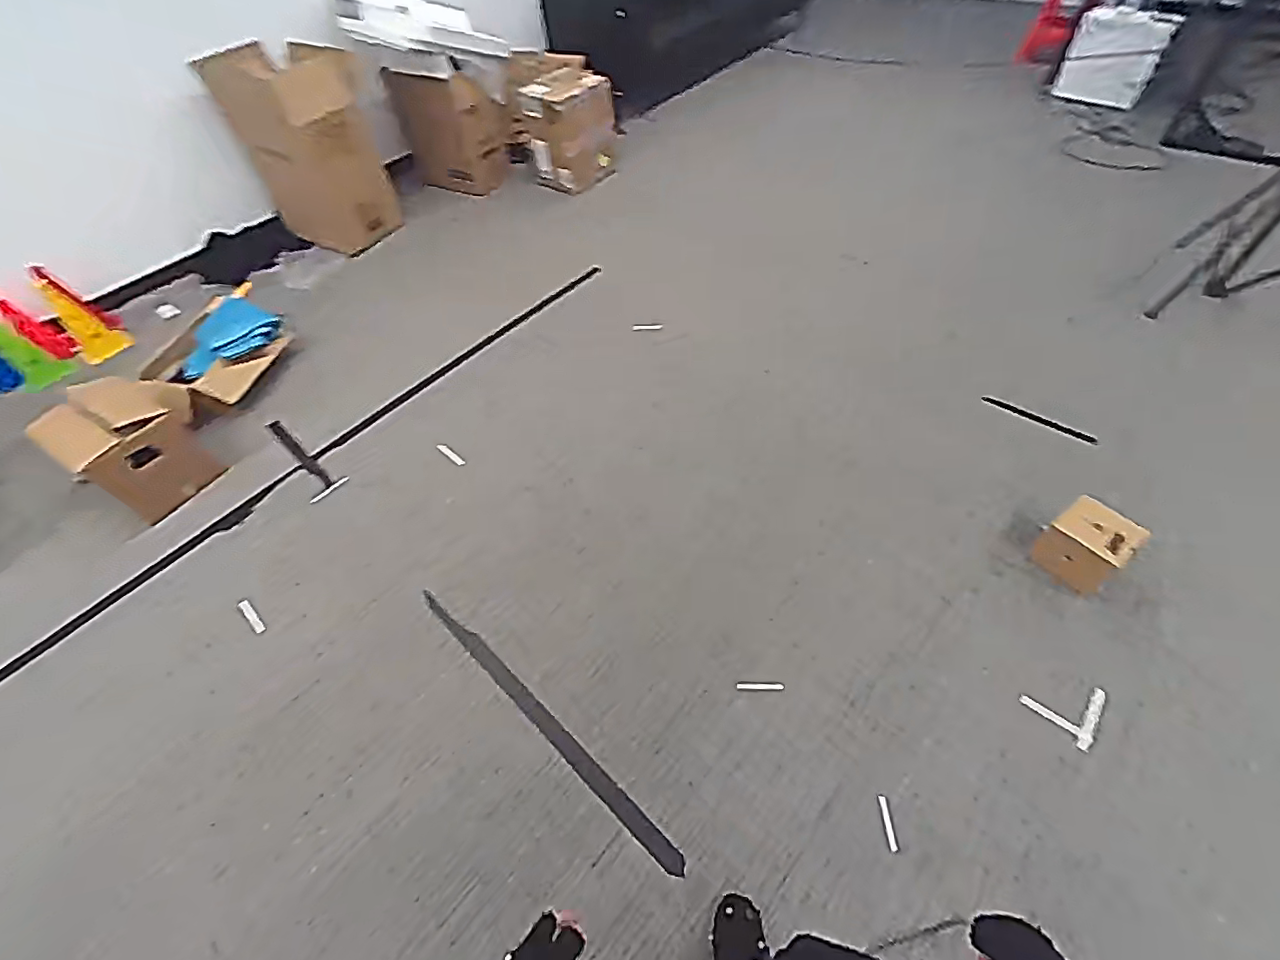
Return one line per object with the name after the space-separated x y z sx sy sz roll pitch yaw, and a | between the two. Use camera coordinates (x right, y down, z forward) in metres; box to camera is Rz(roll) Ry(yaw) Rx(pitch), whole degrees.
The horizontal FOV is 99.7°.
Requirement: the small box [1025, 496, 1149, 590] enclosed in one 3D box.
1.240 0.185 1.513 0.168 0.176 0.179 -33 55 -18 | small box
